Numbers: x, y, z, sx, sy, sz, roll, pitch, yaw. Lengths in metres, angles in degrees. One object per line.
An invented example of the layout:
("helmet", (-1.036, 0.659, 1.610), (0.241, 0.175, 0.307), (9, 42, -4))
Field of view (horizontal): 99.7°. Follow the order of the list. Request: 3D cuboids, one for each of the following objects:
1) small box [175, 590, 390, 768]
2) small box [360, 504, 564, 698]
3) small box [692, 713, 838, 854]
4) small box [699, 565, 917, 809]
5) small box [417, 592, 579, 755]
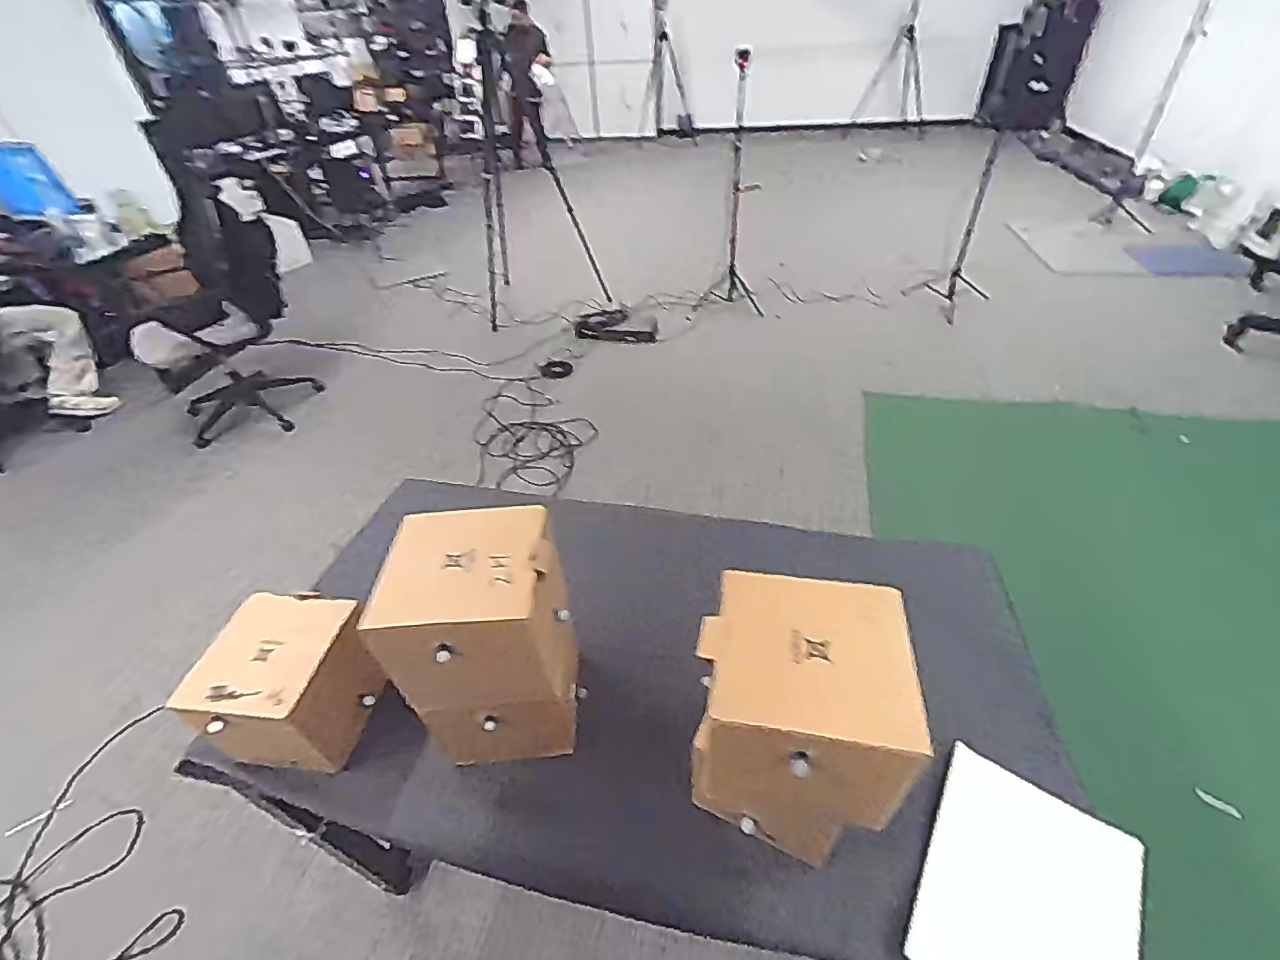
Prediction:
("small box", (-0.490, 0.285, 0.781), (0.168, 0.176, 0.179), (2, 42, 7))
("small box", (-0.198, 0.150, 0.661), (0.179, 0.176, 0.168), (-4, 41, 1))
("small box", (0.171, 0.319, 0.679), (0.168, 0.176, 0.179), (16, 45, 23))
("small box", (0.157, 0.212, 0.555), (0.179, 0.176, 0.168), (4, 41, 11))
("small box", (-0.187, 0.271, 0.771), (0.179, 0.176, 0.168), (-6, 42, -1))
